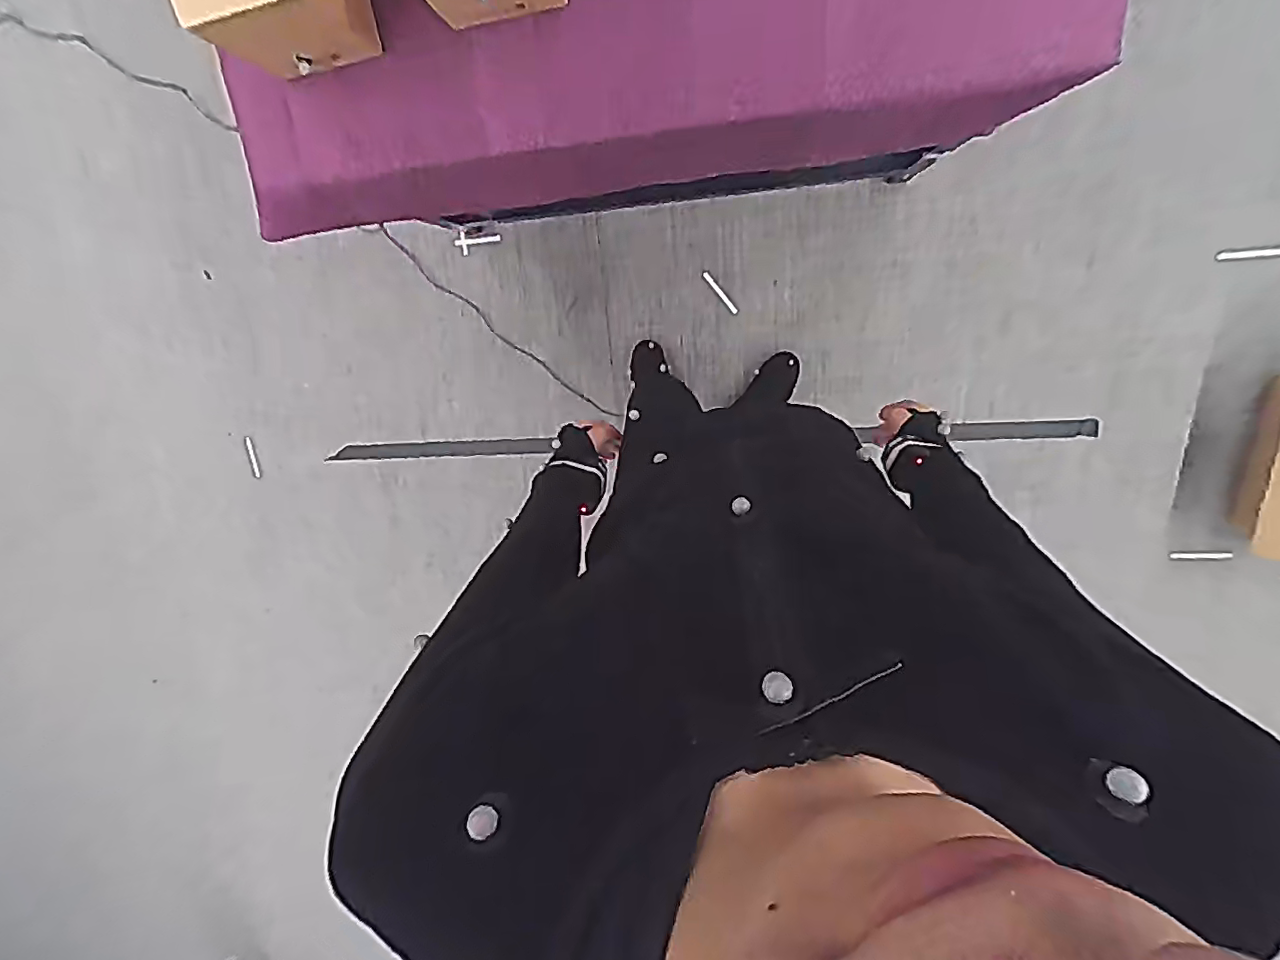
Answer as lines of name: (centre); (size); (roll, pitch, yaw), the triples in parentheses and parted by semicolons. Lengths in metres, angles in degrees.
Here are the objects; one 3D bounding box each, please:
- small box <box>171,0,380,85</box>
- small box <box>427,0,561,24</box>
small box: (-0.467, -0.646, 0.683); (0.168, 0.176, 0.179); (-6, 106, 10)
small box: (-0.198, -0.681, 0.636); (0.168, 0.176, 0.179); (-5, 107, 8)
